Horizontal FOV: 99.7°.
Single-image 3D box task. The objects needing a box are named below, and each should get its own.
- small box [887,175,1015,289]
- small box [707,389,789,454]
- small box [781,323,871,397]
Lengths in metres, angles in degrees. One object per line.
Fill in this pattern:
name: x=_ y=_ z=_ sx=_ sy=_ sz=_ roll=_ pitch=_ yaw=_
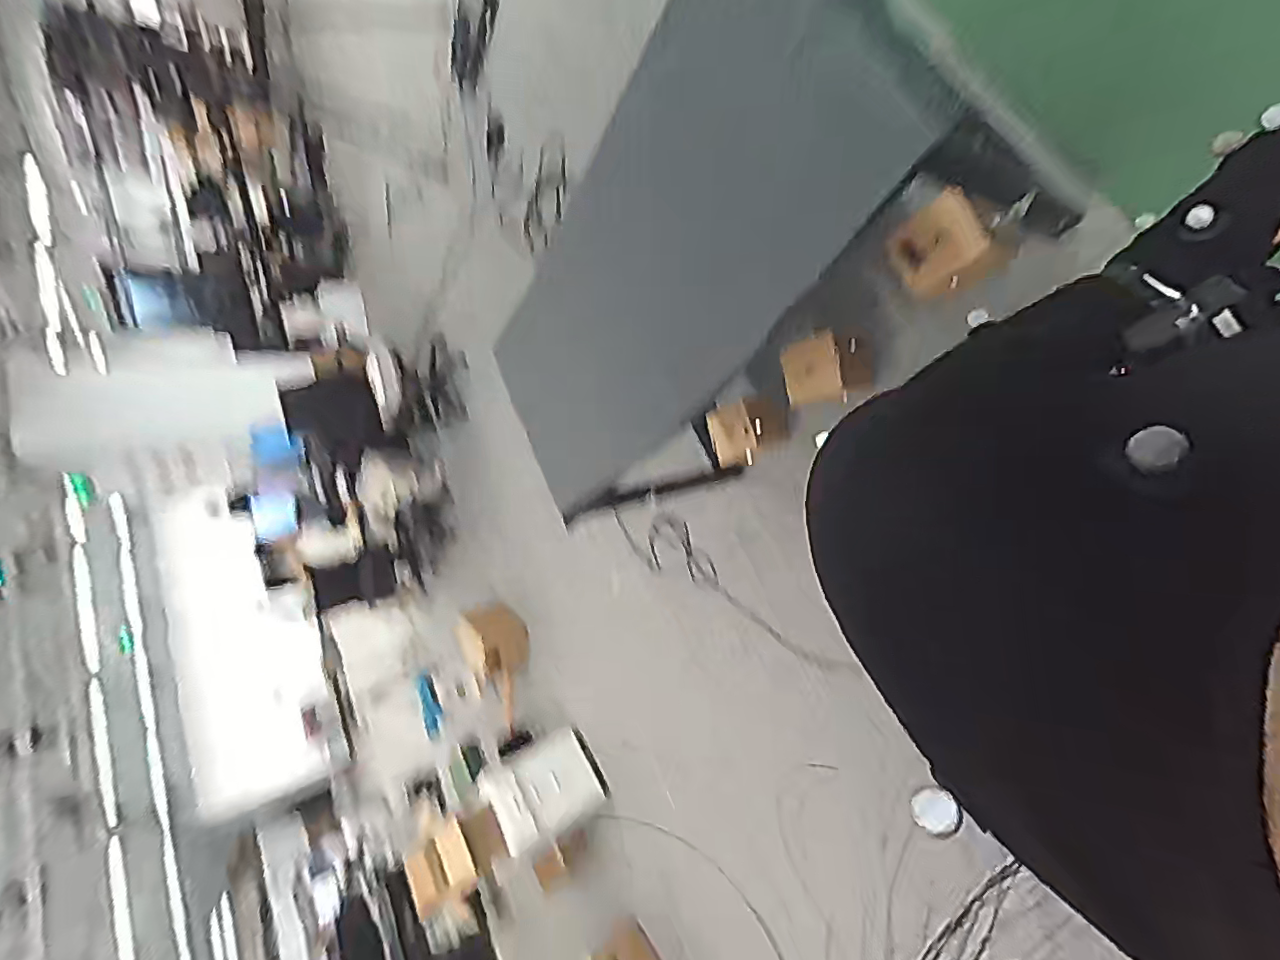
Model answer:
small box: x=0.722 y=-0.563 z=1.255 sx=0.179 sy=0.176 sz=0.168 roll=-35 pitch=73 yaw=48
small box: x=0.361 y=-0.195 z=1.803 sx=0.179 sy=0.176 sz=0.168 roll=-25 pitch=80 yaw=52
small box: x=0.538 y=-0.343 z=1.545 sx=0.179 sy=0.176 sz=0.168 roll=-13 pitch=88 yaw=53
